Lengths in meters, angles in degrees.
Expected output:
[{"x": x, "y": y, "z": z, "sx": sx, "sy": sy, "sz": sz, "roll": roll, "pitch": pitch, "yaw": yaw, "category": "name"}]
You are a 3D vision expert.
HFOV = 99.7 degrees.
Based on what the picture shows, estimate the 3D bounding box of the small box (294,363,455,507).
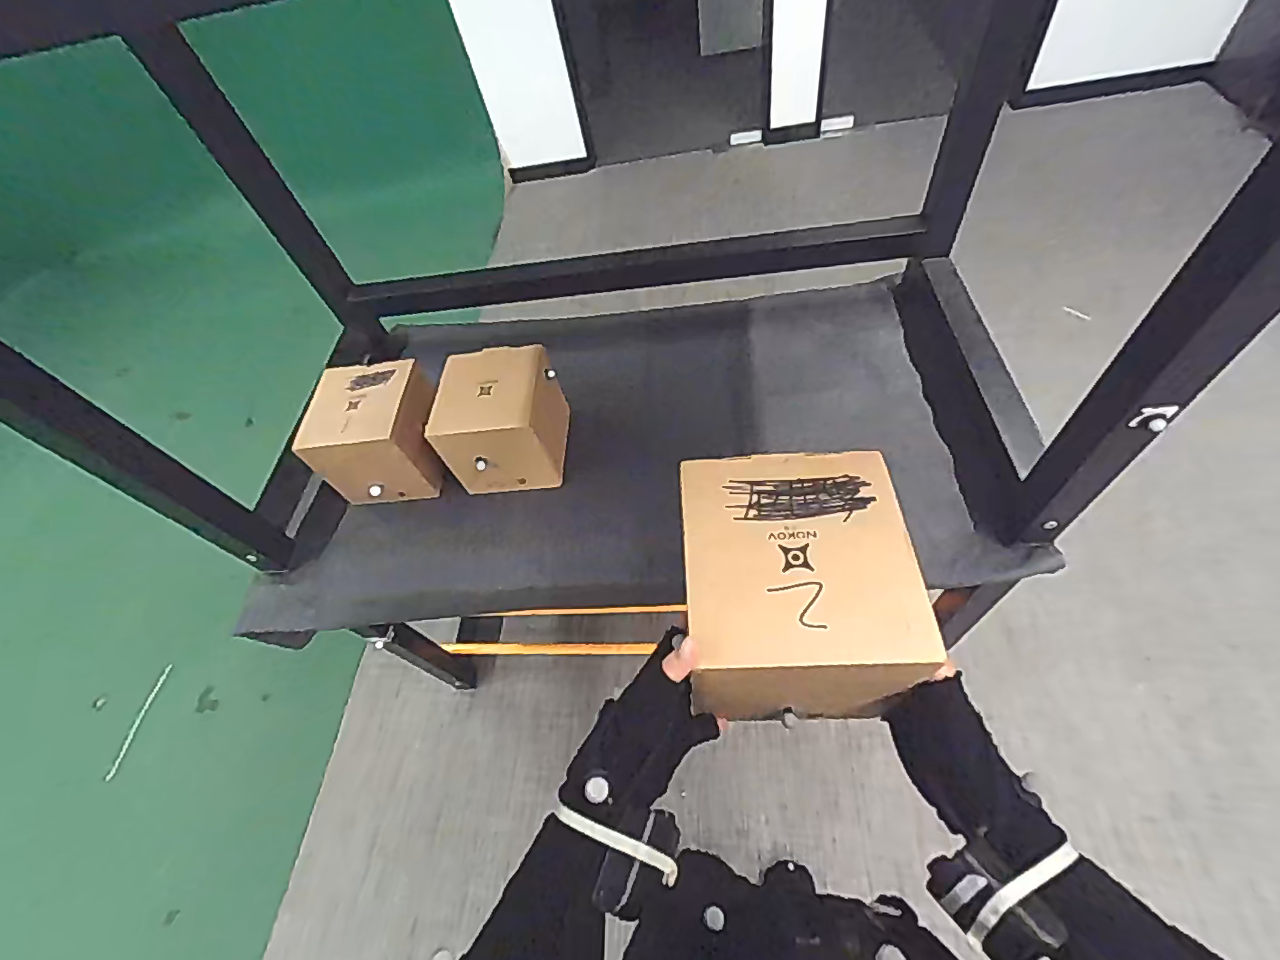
[{"x": -0.441, "y": -0.074, "z": 0.934, "sx": 0.168, "sy": 0.176, "sz": 0.179, "roll": -6, "pitch": 55, "yaw": 8, "category": "small box"}]
